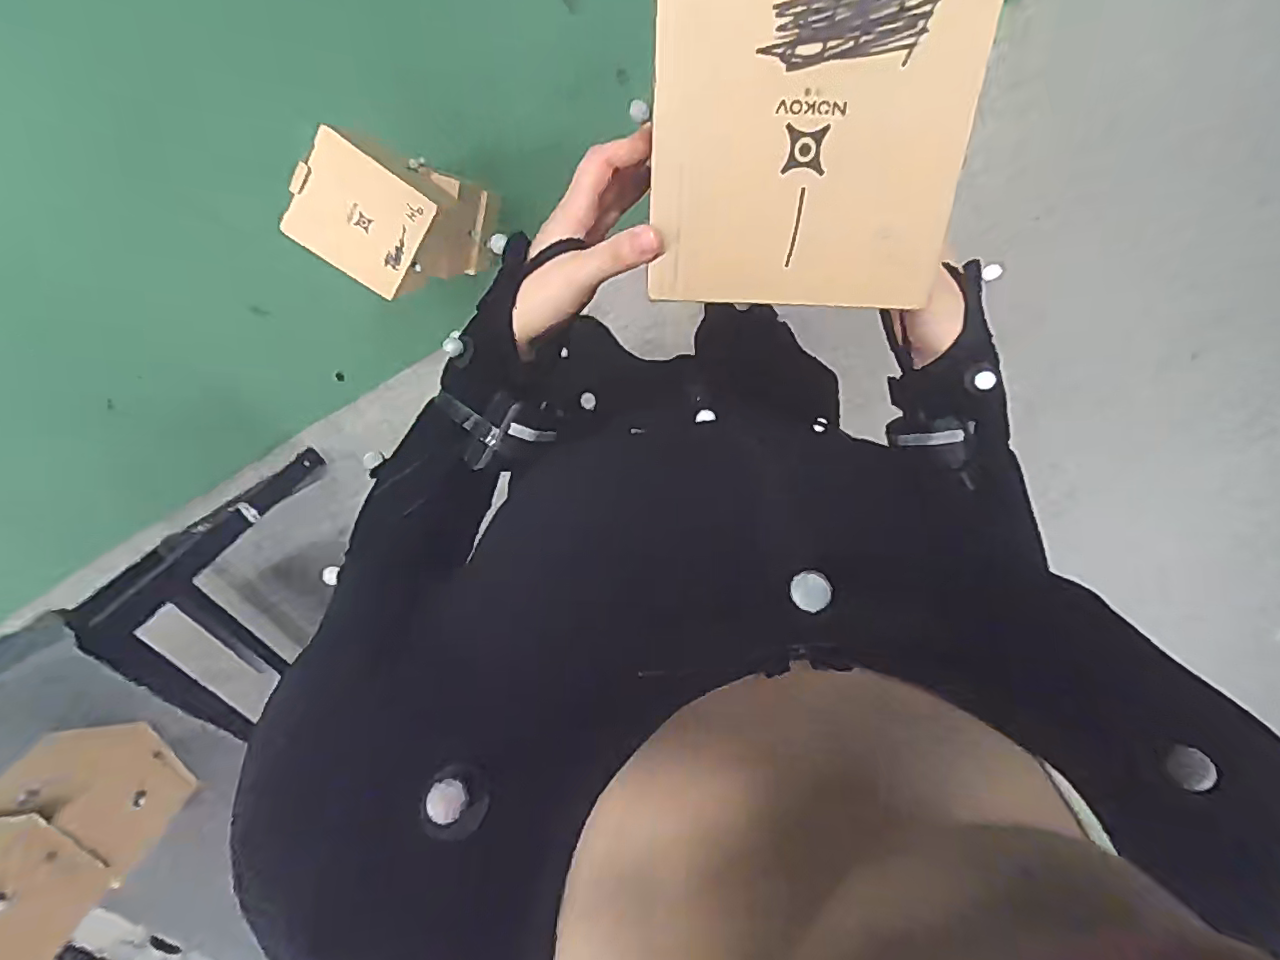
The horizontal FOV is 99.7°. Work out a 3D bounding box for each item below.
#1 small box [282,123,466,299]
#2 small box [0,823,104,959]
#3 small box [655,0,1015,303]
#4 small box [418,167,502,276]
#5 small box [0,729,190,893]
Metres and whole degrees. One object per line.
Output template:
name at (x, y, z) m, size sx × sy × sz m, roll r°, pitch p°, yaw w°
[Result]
small box at (-0.405, -0.414, 0.850) m, size 0.179 × 0.176 × 0.168 m, roll 32°, pitch 112°, yaw -18°
small box at (-0.859, 0.571, 0.692) m, size 0.179 × 0.176 × 0.168 m, roll -12°, pitch 116°, yaw 6°
small box at (0.096, -0.217, 0.351) m, size 0.168 × 0.176 × 0.179 m, roll 1°, pitch 115°, yaw 1°
small box at (-0.404, -0.553, 1.149) m, size 0.179 × 0.176 × 0.168 m, roll 15°, pitch 116°, yaw -9°
small box at (-0.864, 0.515, 0.845) m, size 0.179 × 0.176 × 0.168 m, roll -8°, pitch 117°, yaw 4°
